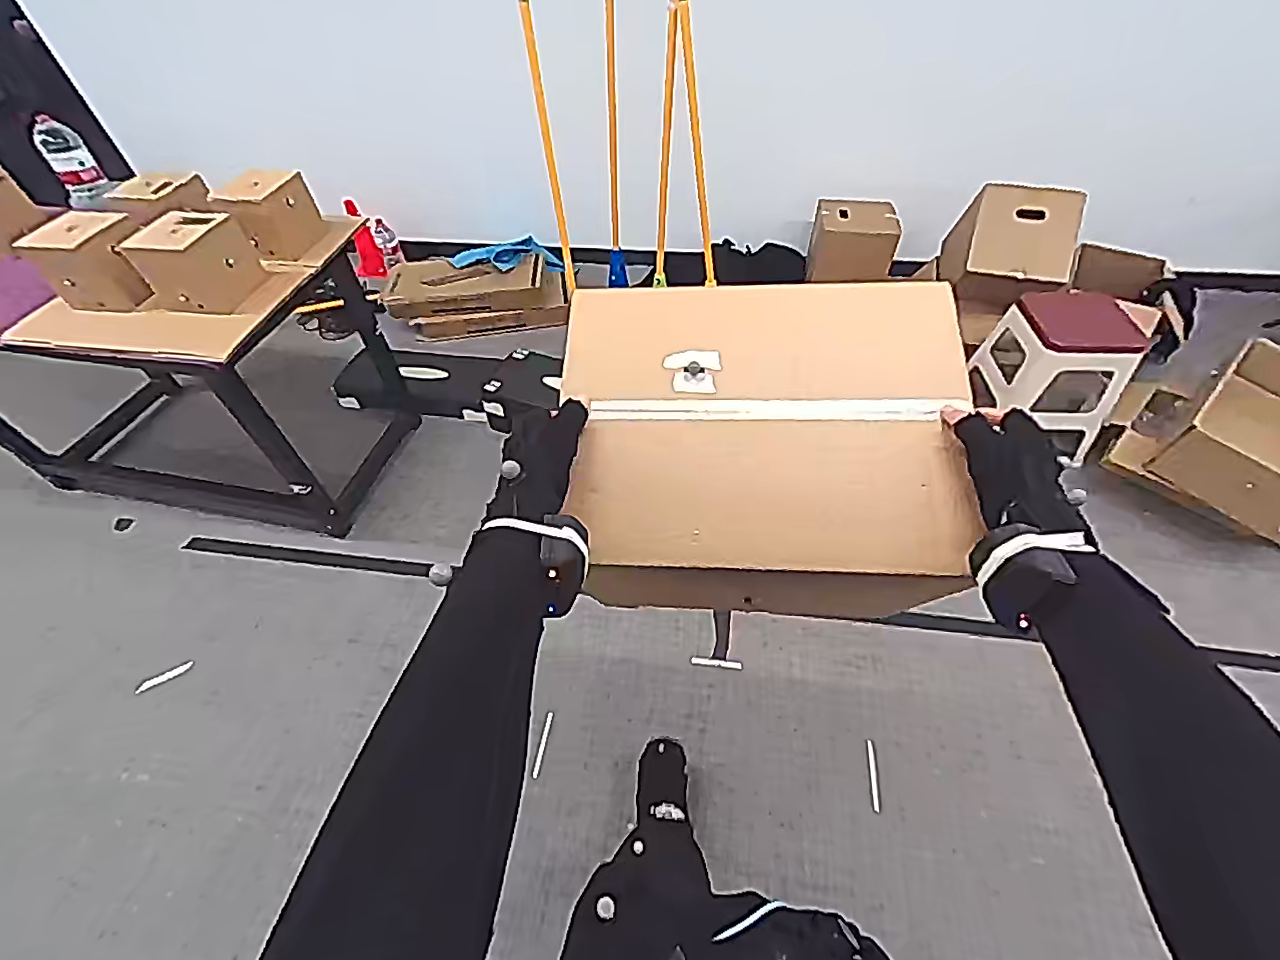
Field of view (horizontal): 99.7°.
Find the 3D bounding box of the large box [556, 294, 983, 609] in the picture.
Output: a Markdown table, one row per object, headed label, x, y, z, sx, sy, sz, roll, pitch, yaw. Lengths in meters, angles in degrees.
| label | x | y | z | sx | sy | sz | roll | pitch | yaw |
| --- | --- | --- | --- | --- | --- | --- | --- | --- | --- |
| large box | 0.137 | -0.008 | 0.698 | 0.408 | 0.320 | 0.320 | 1 | 69 | 7 |
